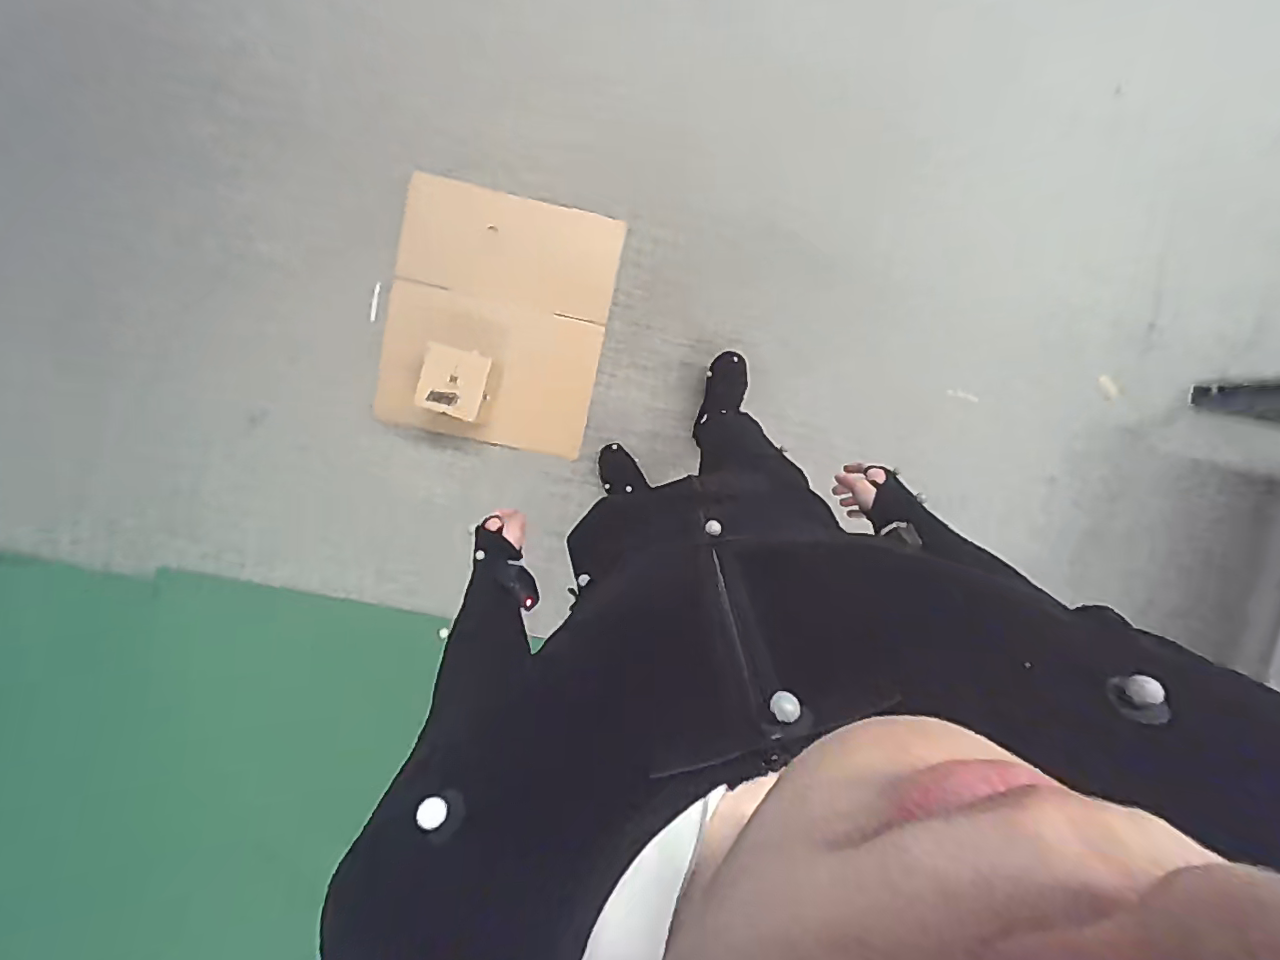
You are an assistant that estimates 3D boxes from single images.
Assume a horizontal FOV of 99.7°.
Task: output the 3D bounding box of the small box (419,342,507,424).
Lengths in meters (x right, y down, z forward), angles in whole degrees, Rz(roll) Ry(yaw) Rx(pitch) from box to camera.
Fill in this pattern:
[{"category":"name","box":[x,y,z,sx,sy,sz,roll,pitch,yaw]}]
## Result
[{"category":"small box","box":[-0.476,-0.260,1.482,0.168,0.176,0.179,16,95,-4]}]
